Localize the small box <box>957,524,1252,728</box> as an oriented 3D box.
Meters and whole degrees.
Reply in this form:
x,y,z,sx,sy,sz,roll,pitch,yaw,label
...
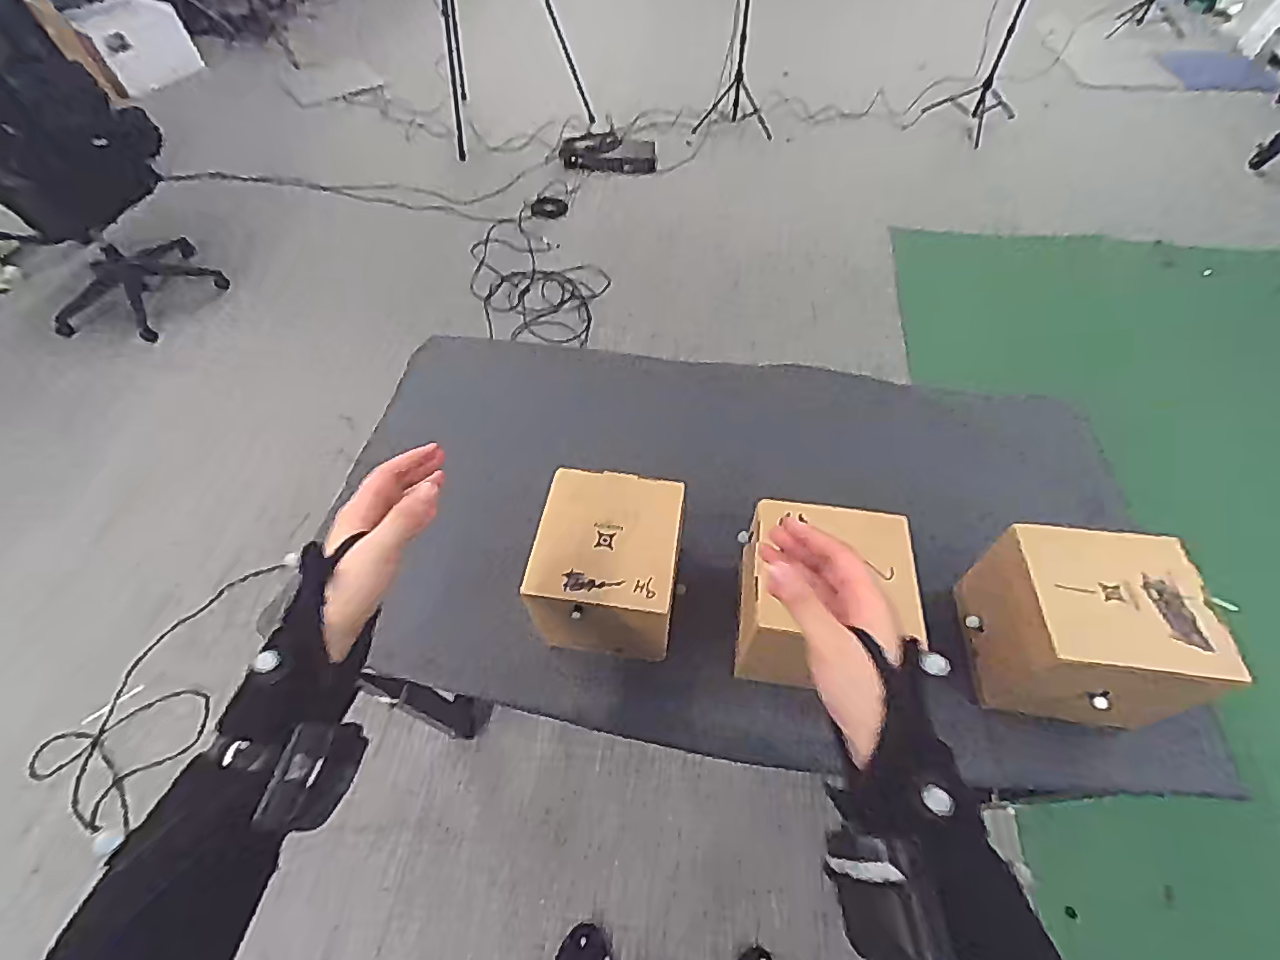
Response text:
x,y,z,sx,sy,sz,roll,pitch,yaw,label
0.505,0.173,0.626,0.179,0.176,0.168,6,52,8,small box

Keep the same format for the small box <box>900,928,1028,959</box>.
x,y,z,sx,sy,sz,roll,pitch,yaw,label
0.604,0.943,0.984,0.168,0.176,0.179,-1,56,1,small box

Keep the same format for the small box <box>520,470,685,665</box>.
x,y,z,sx,sy,sz,roll,pitch,yaw,label
-0.037,0.114,0.692,0.168,0.176,0.179,7,54,8,small box
